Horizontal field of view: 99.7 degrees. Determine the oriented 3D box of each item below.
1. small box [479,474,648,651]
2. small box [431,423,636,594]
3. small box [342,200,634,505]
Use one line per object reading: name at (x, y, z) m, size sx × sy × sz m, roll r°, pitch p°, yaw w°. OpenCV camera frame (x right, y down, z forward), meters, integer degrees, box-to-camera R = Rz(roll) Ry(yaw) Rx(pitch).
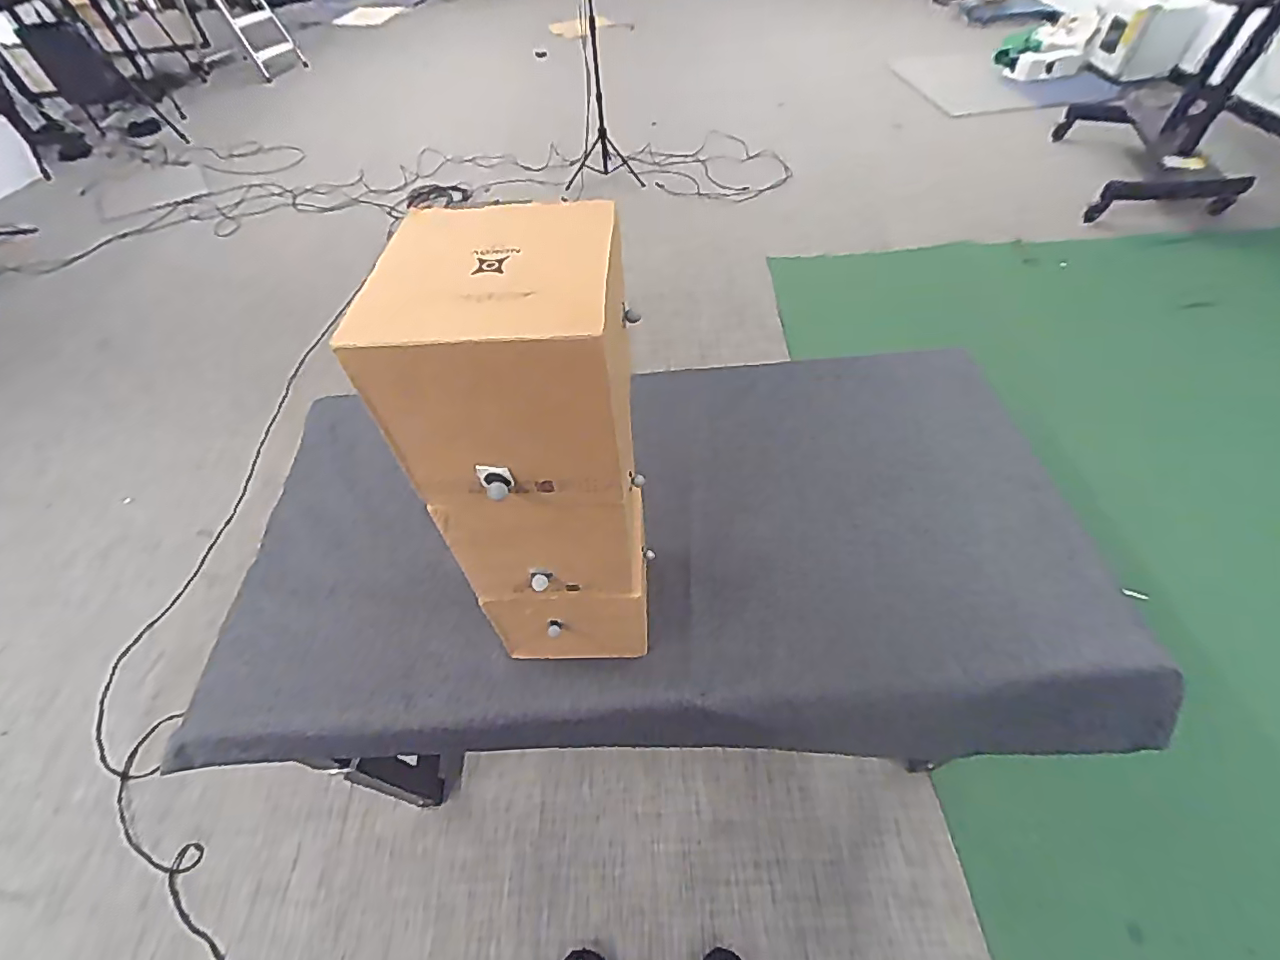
small box at (-0.082, 0.108, 0.686) m, size 0.179 × 0.176 × 0.168 m, roll -1°, pitch 51°, yaw 2°
small box at (-0.091, 0.000, 0.562) m, size 0.168 × 0.176 × 0.179 m, roll -1°, pitch 52°, yaw 2°
small box at (-0.093, -0.098, 0.434) m, size 0.168 × 0.176 × 0.179 m, roll -1°, pitch 52°, yaw 3°
